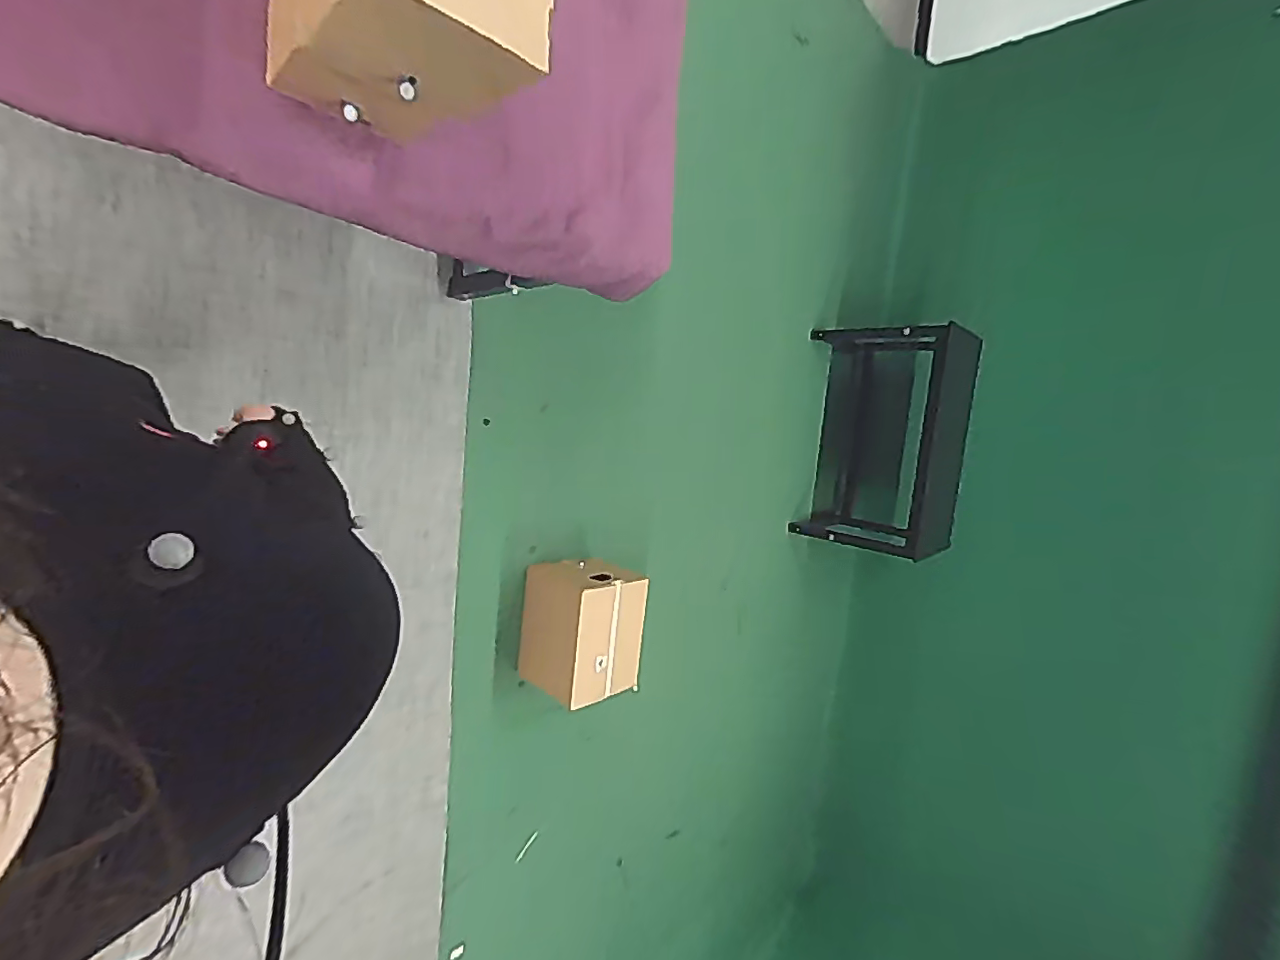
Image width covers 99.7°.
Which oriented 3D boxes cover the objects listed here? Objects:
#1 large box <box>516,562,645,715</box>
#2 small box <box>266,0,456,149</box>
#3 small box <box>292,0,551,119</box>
[{"bbox_3d":[-0.213,0.534,1.913,0.320,0.320,0.408,1,98,-47],"label":"large box"},{"bbox_3d":[-0.312,-0.523,0.620,0.168,0.176,0.179,0,98,-47],"label":"small box"},{"bbox_3d":[-0.201,-0.473,0.506,0.179,0.176,0.168,-4,101,-46],"label":"small box"}]
